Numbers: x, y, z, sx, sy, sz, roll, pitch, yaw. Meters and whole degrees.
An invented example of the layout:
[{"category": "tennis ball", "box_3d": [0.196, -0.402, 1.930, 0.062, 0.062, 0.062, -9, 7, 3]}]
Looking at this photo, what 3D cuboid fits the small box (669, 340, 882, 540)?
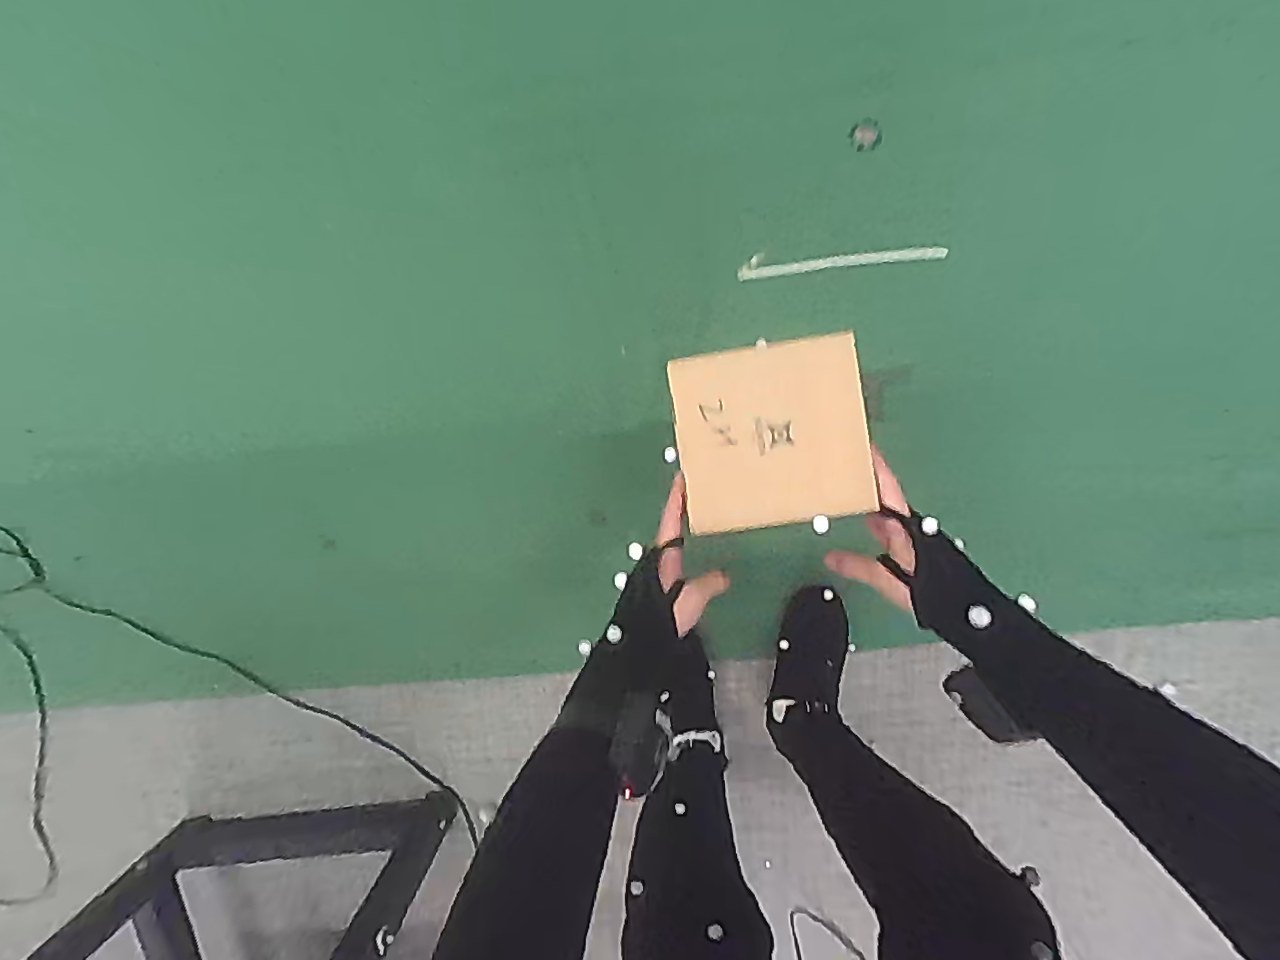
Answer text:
[{"category": "small box", "box_3d": [0.128, -0.034, 0.569, 0.179, 0.176, 0.168, -8, 87, 6]}]
